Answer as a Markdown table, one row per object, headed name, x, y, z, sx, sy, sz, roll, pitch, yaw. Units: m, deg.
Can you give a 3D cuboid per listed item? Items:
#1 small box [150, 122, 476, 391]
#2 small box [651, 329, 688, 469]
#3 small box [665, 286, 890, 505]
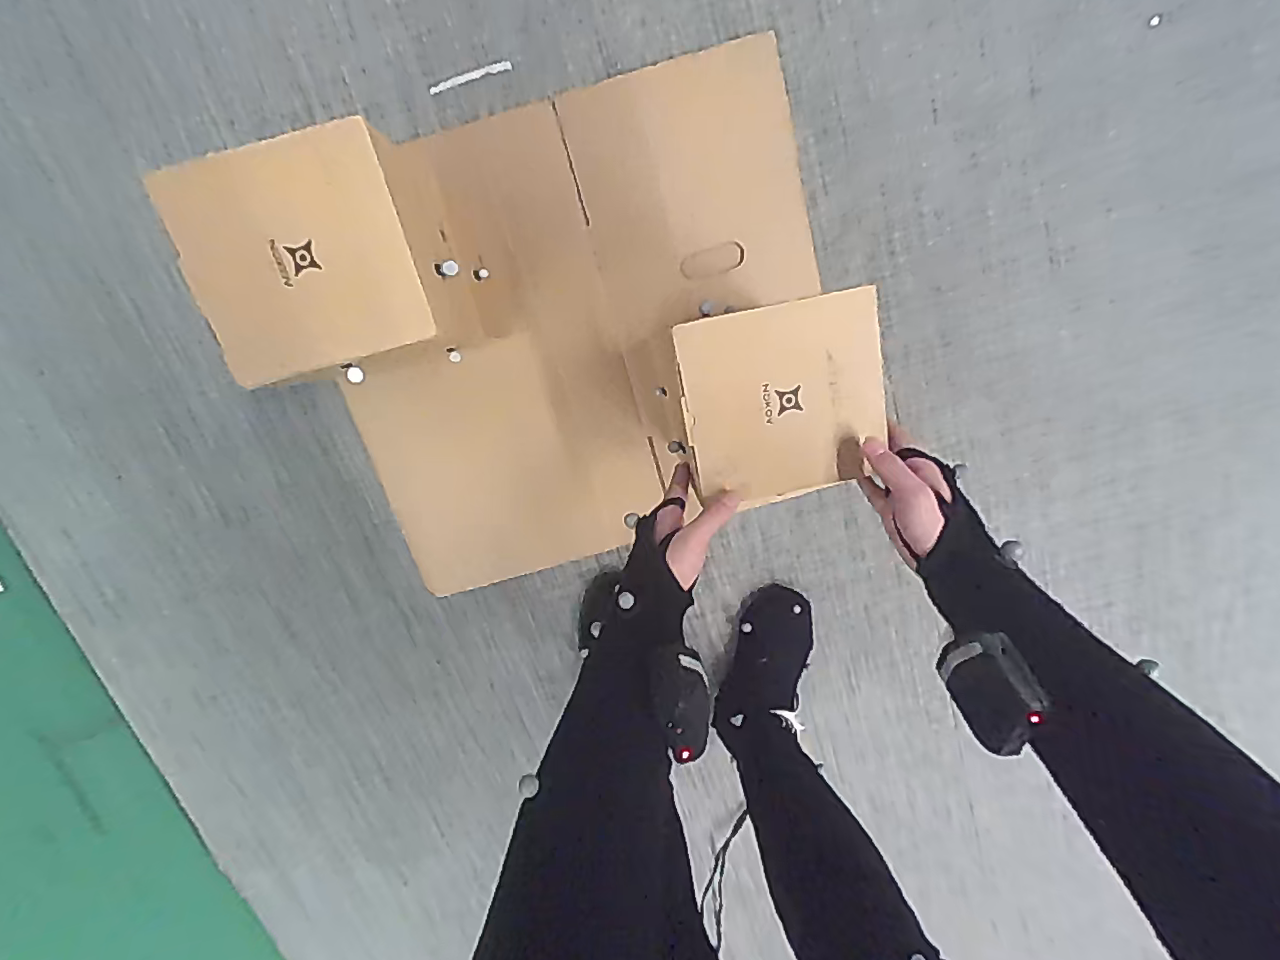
| name | x | y | z | sx | sy | sz | roll | pitch | yaw |
| --- | --- | --- | --- | --- | --- | --- | --- | --- | --- |
| small box | -0.267 | -0.191 | 0.499 | 0.179 | 0.176 | 0.168 | -15 | 106 | 2 |
| small box | 0.119 | -0.127 | 0.702 | 0.179 | 0.176 | 0.168 | -14 | 105 | 1 |
| small box | 0.123 | -0.088 | 0.543 | 0.179 | 0.176 | 0.168 | -11 | 105 | 1 |
